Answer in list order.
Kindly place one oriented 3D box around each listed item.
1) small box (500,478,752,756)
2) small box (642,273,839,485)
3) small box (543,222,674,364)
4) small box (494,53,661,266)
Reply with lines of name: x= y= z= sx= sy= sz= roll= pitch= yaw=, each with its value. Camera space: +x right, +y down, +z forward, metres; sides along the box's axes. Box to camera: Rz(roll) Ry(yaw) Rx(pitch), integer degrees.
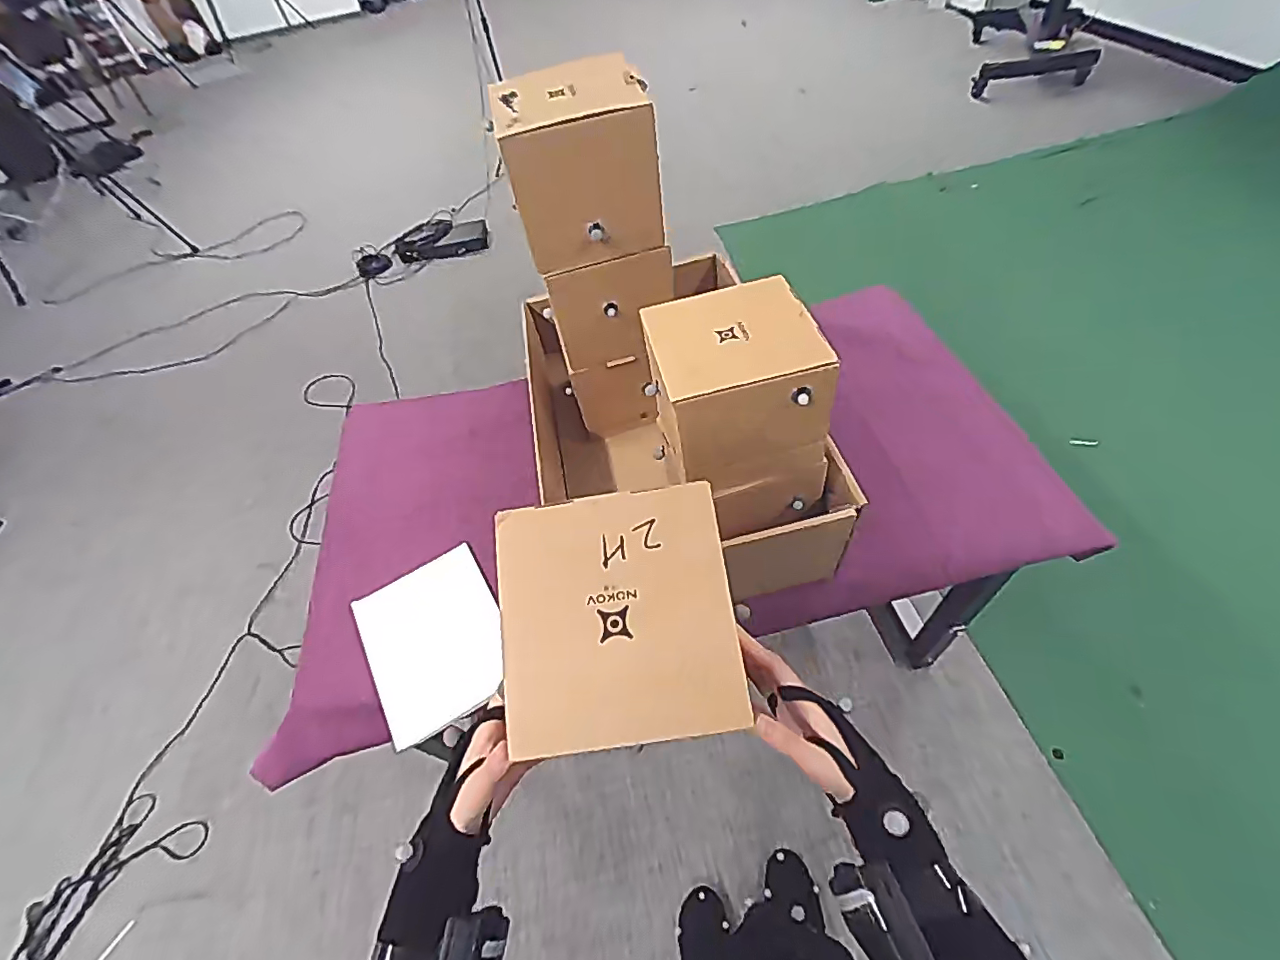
small box: x=-0.009 y=0.114 z=0.454 sx=0.168 sy=0.176 sz=0.179 roll=-8 pitch=71 yaw=1
small box: x=0.112 y=-0.112 z=0.643 sx=0.179 sy=0.176 sz=0.168 roll=-13 pitch=51 yaw=-1
small box: x=-0.050 y=-0.304 z=0.817 sx=0.179 sy=0.176 sz=0.168 roll=-16 pitch=54 yaw=-3
small box: x=-0.073 y=-0.402 z=0.687 sx=0.179 sy=0.176 sz=0.168 roll=-13 pitch=53 yaw=-3
